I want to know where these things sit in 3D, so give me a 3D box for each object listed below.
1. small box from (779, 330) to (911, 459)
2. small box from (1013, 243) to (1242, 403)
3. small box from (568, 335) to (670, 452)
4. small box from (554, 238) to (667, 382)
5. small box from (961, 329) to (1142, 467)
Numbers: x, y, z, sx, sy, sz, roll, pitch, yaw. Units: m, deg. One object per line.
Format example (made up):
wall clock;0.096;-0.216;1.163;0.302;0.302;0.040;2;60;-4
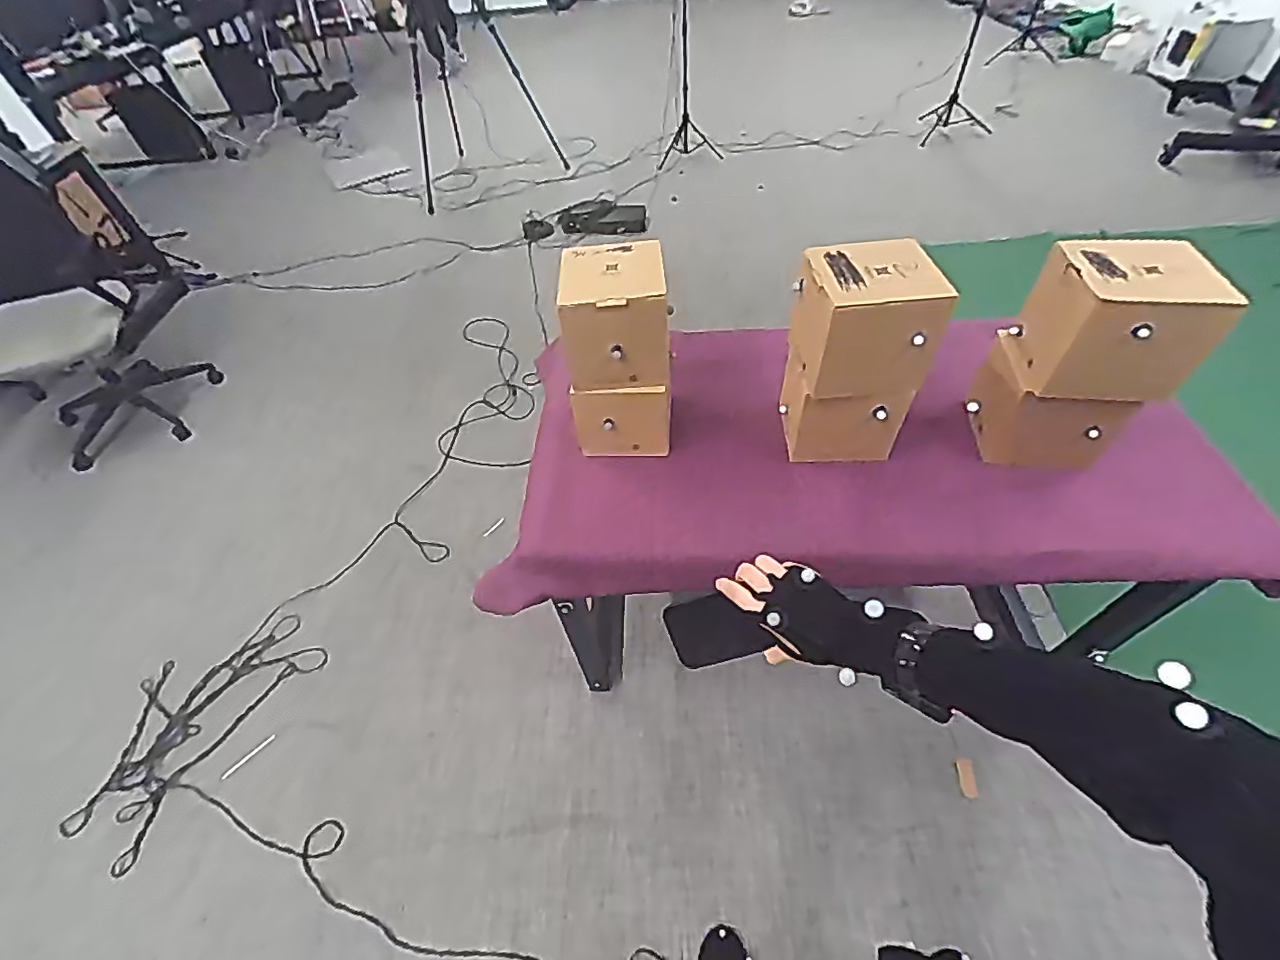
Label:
small box;0.357;-0.151;0.977;0.179;0.176;0.168;0;51;5
small box;0.691;-0.231;0.802;0.179;0.176;0.168;5;51;9
small box;-0.030;-0.167;1.028;0.168;0.176;0.179;0;51;6
small box;-0.041;-0.277;0.907;0.168;0.176;0.179;-3;51;2
small box;0.695;-0.139;0.938;0.179;0.176;0.168;5;51;10
